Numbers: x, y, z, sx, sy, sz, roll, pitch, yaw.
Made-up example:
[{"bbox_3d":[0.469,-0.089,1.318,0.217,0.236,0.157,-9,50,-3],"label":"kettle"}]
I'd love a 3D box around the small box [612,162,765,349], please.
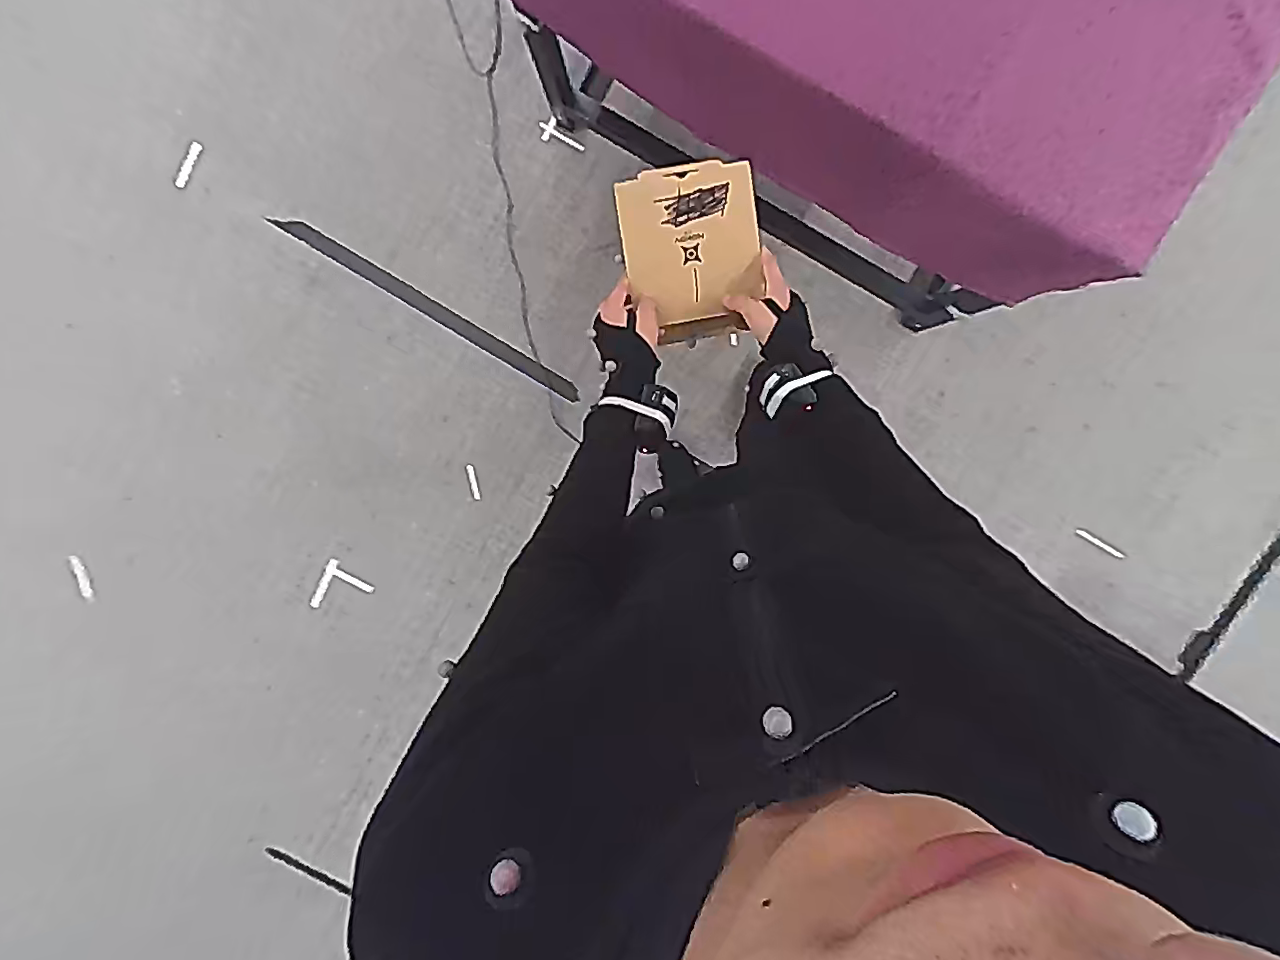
[{"bbox_3d":[0.060,-0.286,0.727,0.168,0.176,0.179,-10,96,3],"label":"small box"}]
